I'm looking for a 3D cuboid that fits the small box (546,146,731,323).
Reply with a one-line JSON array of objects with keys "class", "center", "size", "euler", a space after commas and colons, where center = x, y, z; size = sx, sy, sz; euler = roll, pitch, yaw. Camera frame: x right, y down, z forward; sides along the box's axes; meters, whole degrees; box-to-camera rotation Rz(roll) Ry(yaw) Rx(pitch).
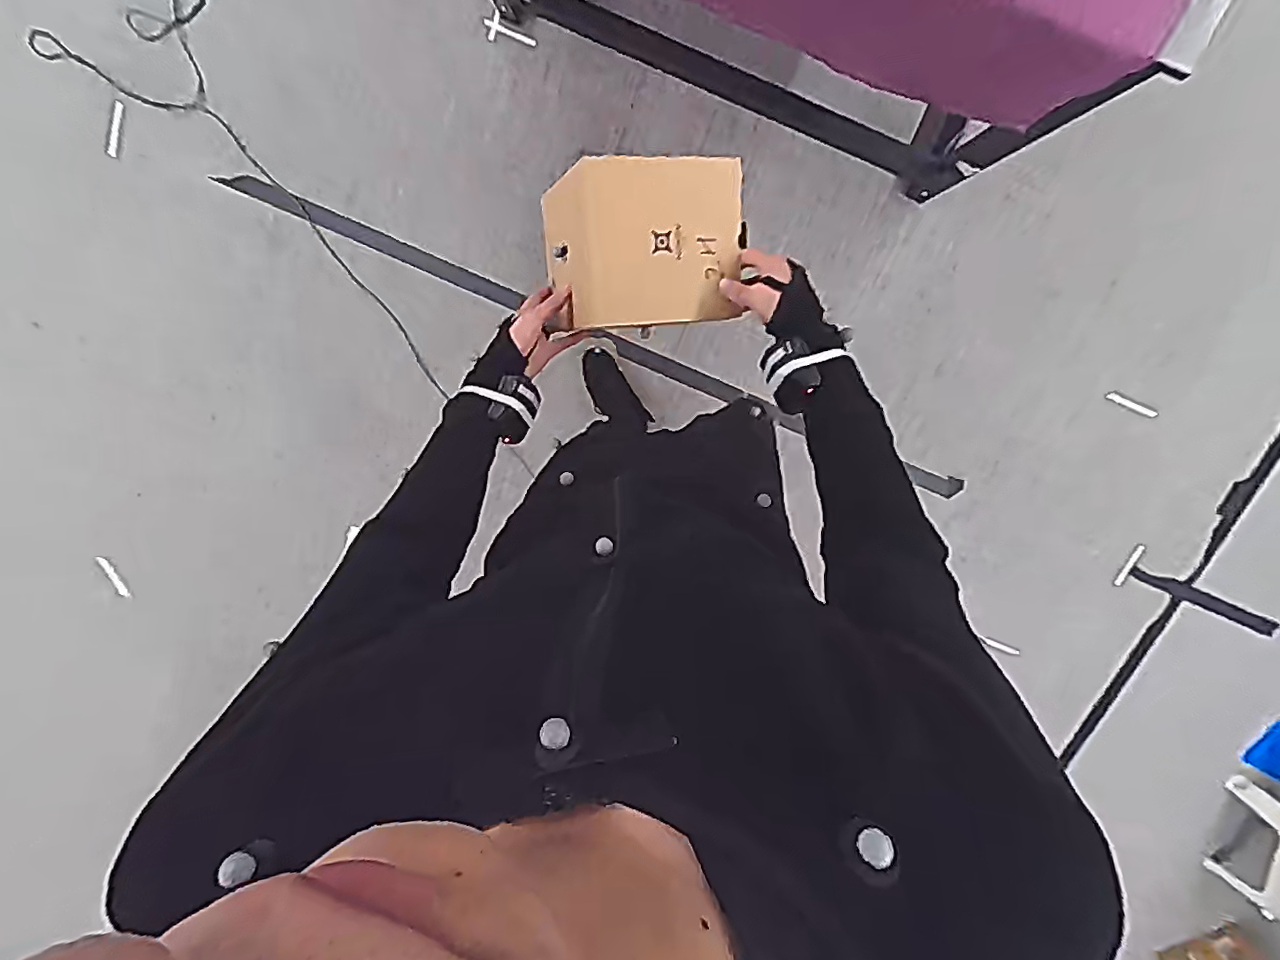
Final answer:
[{"class": "small box", "center": [-0.009, -0.279, 0.651], "size": [0.179, 0.176, 0.168], "euler": [-10, 108, -23]}]
